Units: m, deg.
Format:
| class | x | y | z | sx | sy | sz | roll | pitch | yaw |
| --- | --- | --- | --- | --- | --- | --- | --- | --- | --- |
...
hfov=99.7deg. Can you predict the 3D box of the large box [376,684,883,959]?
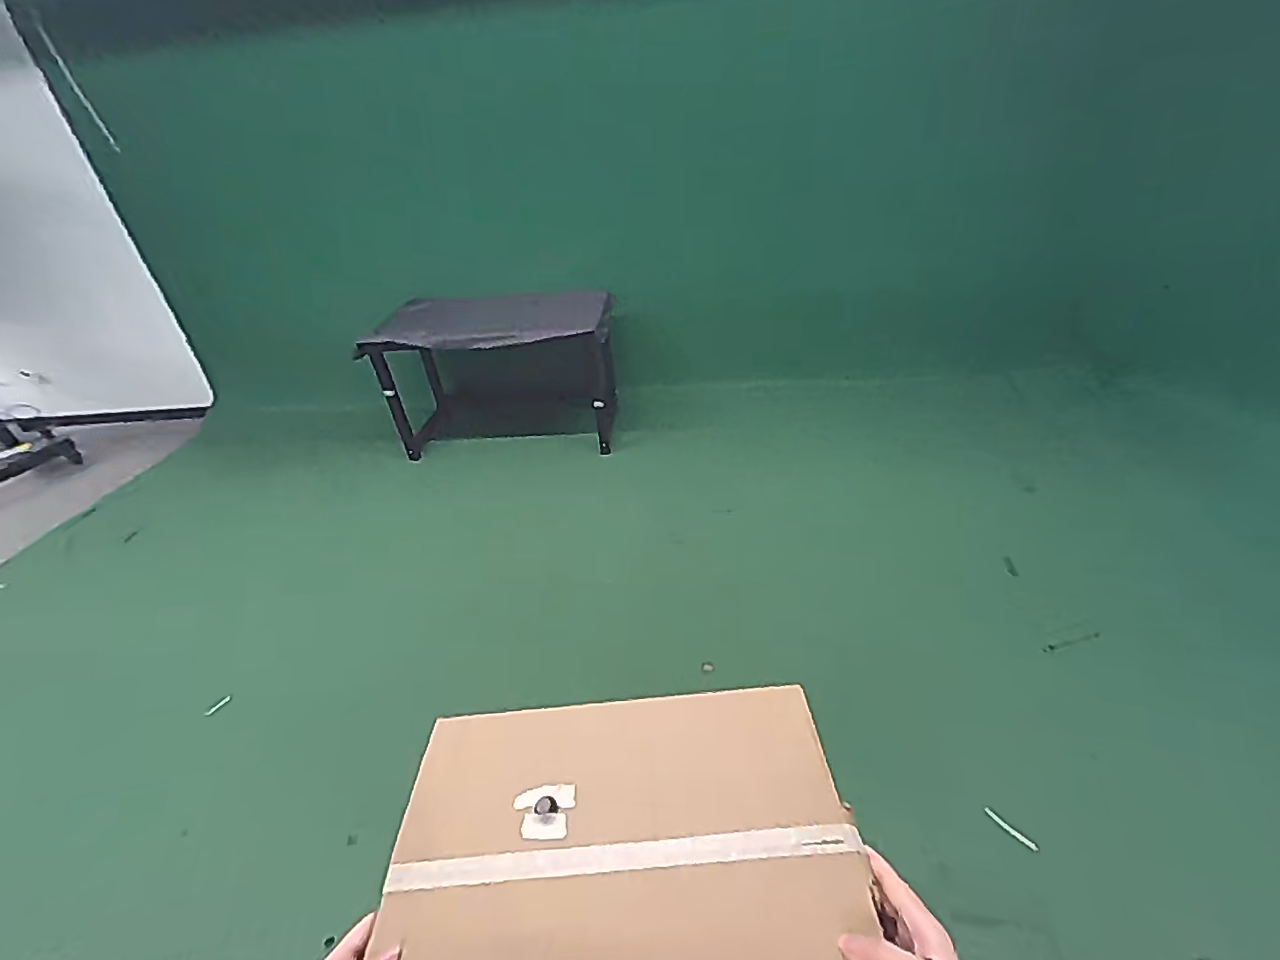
| class | x | y | z | sx | sy | sz | roll | pitch | yaw |
| --- | --- | --- | --- | --- | --- | --- | --- | --- | --- |
| large box | 0.002 | 0.458 | 0.559 | 0.408 | 0.320 | 0.320 | -8 | 32 | 3 |
